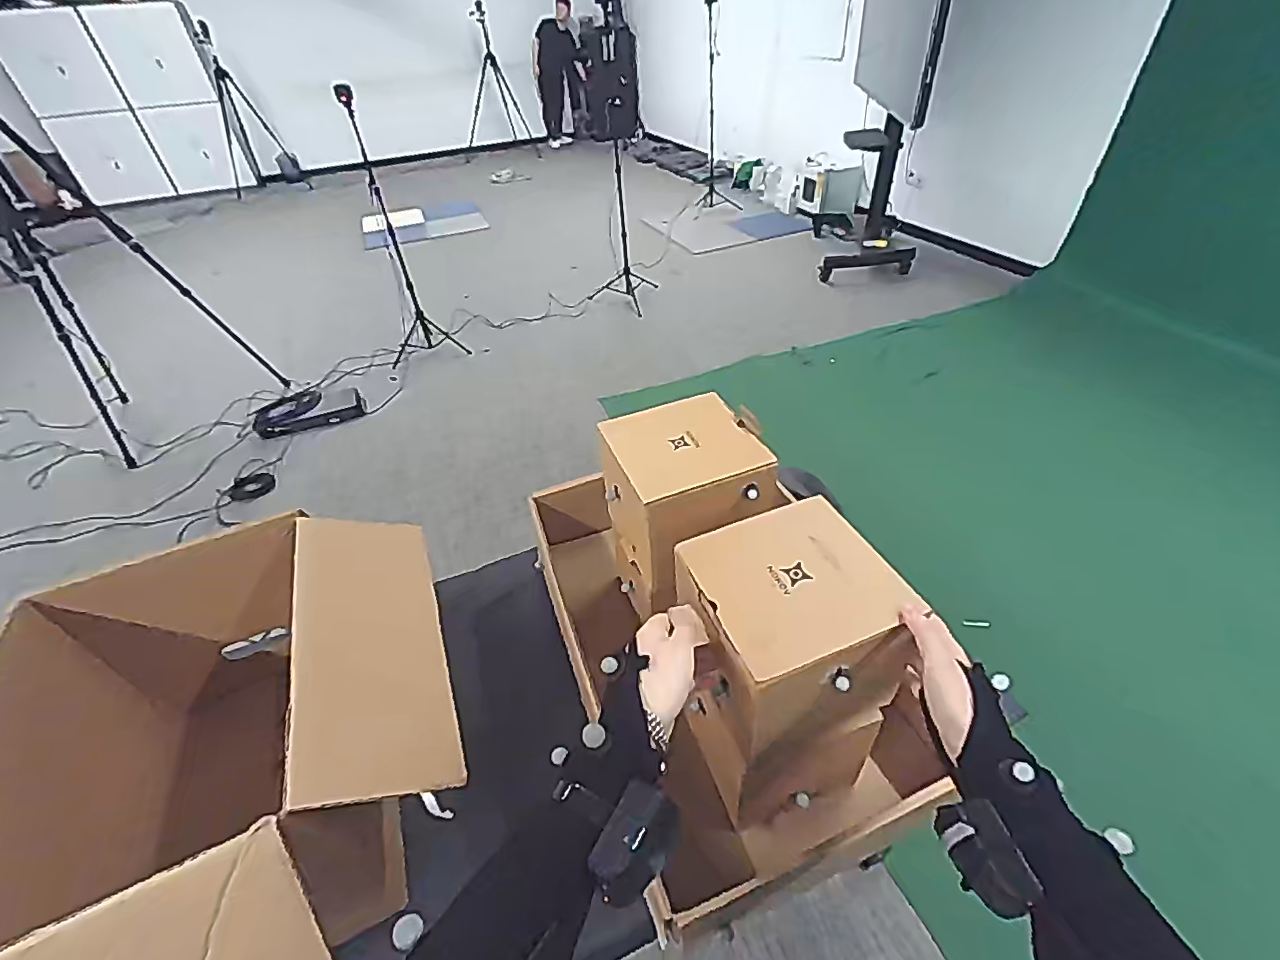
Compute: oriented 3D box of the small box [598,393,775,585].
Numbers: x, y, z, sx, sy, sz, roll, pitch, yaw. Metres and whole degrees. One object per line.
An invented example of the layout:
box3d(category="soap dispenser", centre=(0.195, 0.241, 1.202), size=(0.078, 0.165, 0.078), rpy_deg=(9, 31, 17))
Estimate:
box3d(category="small box", centre=(0.058, 0.013, 0.725), size=(0.179, 0.176, 0.168), rpy_deg=(-17, 45, -14))
